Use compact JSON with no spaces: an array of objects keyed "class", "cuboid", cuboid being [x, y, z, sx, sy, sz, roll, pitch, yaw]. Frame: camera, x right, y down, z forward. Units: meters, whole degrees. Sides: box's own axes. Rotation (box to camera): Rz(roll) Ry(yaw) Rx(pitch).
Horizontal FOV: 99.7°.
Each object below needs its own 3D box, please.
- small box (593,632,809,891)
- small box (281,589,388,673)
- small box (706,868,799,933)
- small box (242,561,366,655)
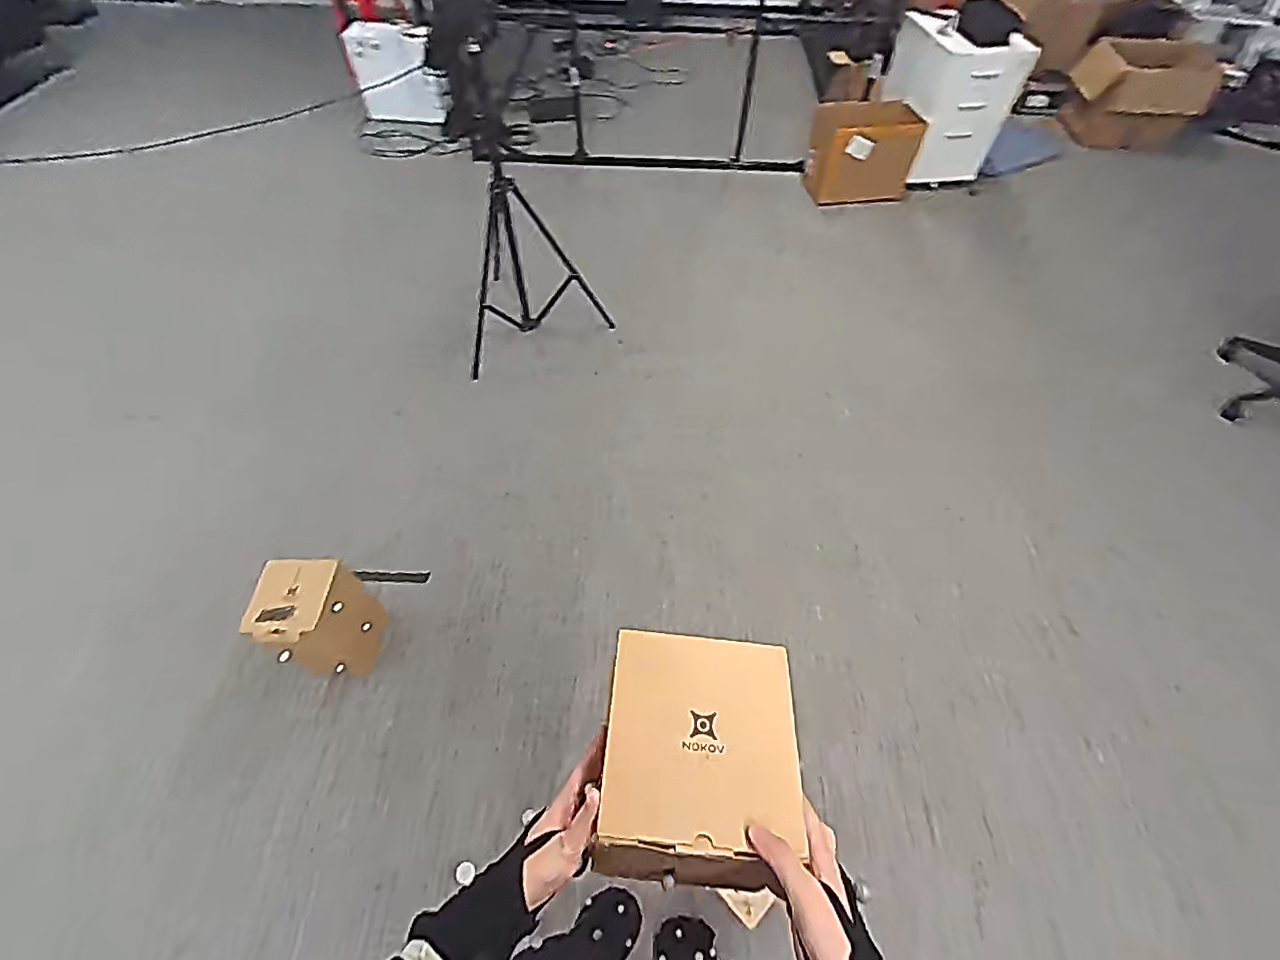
[{"class":"small box","cuboid":[0.046,0.273,0.523,0.168,0.176,0.179,6,47,-1]},{"class":"small box","cuboid":[-0.782,0.397,1.407,0.168,0.176,0.179,0,54,-2]},{"class":"small box","cuboid":[0.211,0.798,1.144,0.179,0.176,0.168,-37,64,-23]},{"class":"small box","cuboid":[-0.774,0.304,1.271,0.168,0.176,0.179,0,55,-1]}]
